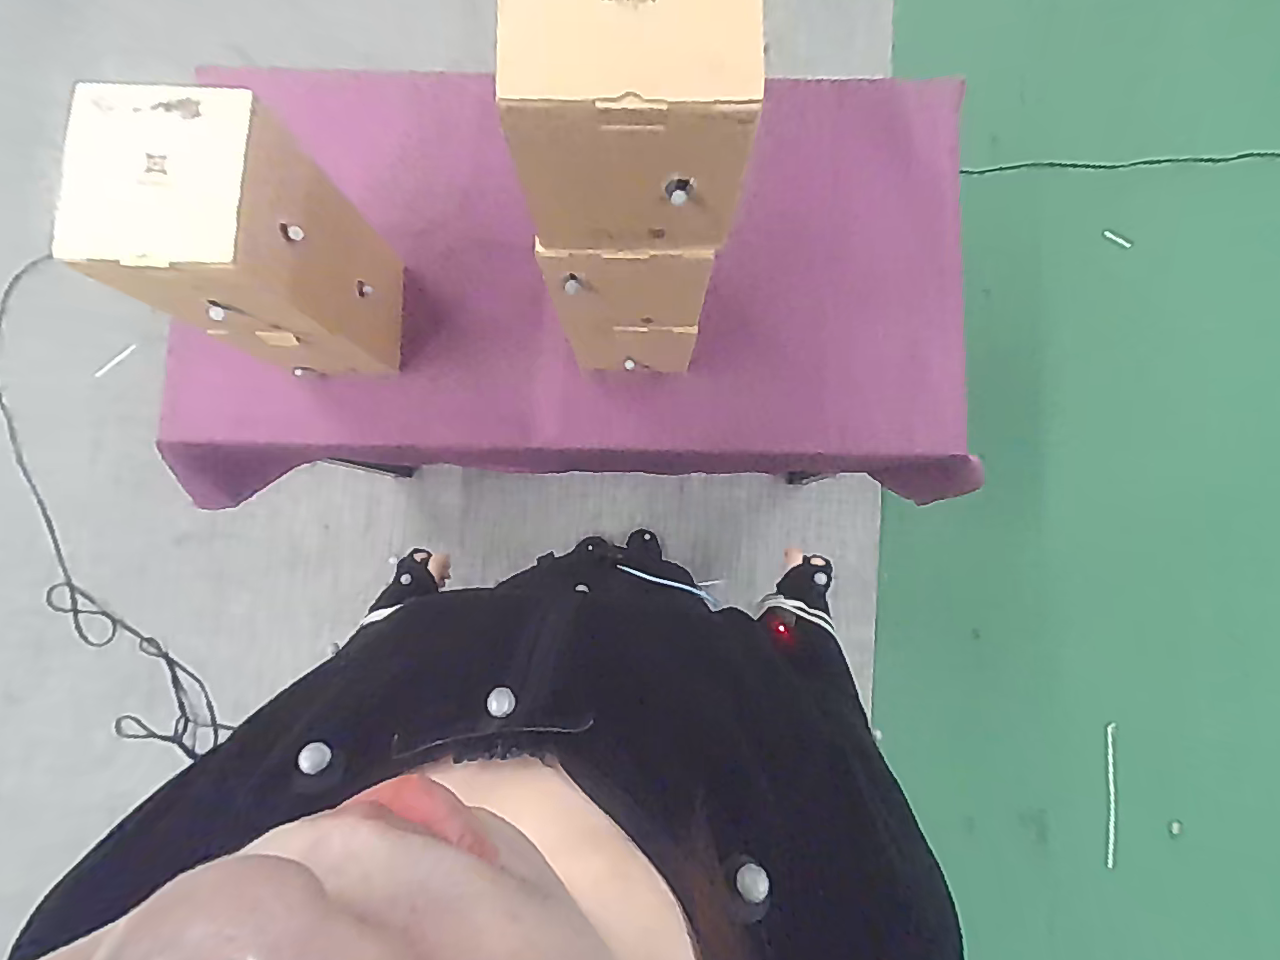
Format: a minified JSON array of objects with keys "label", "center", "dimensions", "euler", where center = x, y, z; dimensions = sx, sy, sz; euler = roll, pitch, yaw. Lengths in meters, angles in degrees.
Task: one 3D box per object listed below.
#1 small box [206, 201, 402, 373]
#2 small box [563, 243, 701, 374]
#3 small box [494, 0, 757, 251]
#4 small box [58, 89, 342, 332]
[{"label":"small box","center":[-0.443,-0.252,0.741],"dimensions":[0.168,0.176,0.179],"euler":[0,84,-1]},{"label":"small box","center":[-0.009,-0.259,0.744],"dimensions":[0.168,0.176,0.179],"euler":[3,85,0]},{"label":"small box","center":[-0.008,-0.299,0.419],"dimensions":[0.168,0.176,0.179],"euler":[0,84,-1]},{"label":"small box","center":[-0.445,-0.269,0.577],"dimensions":[0.168,0.176,0.179],"euler":[2,85,-1]}]
